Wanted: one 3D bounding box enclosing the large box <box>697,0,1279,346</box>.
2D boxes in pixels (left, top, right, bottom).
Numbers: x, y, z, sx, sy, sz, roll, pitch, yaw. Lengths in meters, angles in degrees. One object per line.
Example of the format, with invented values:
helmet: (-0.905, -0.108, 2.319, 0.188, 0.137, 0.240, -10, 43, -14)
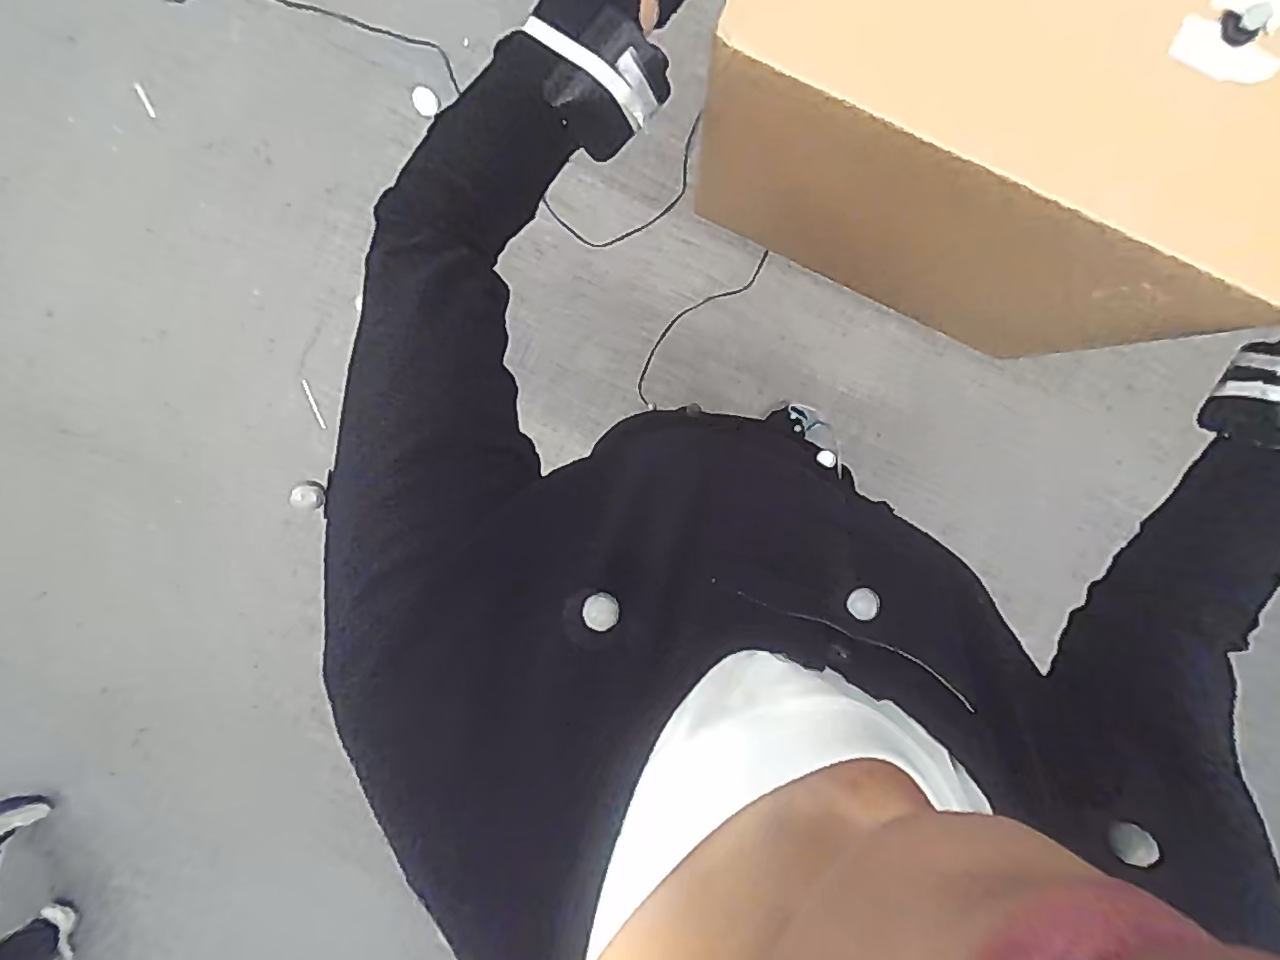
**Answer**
large box: (0.297, -0.349, 0.462, 0.408, 0.320, 0.320, 24, 99, -2)
